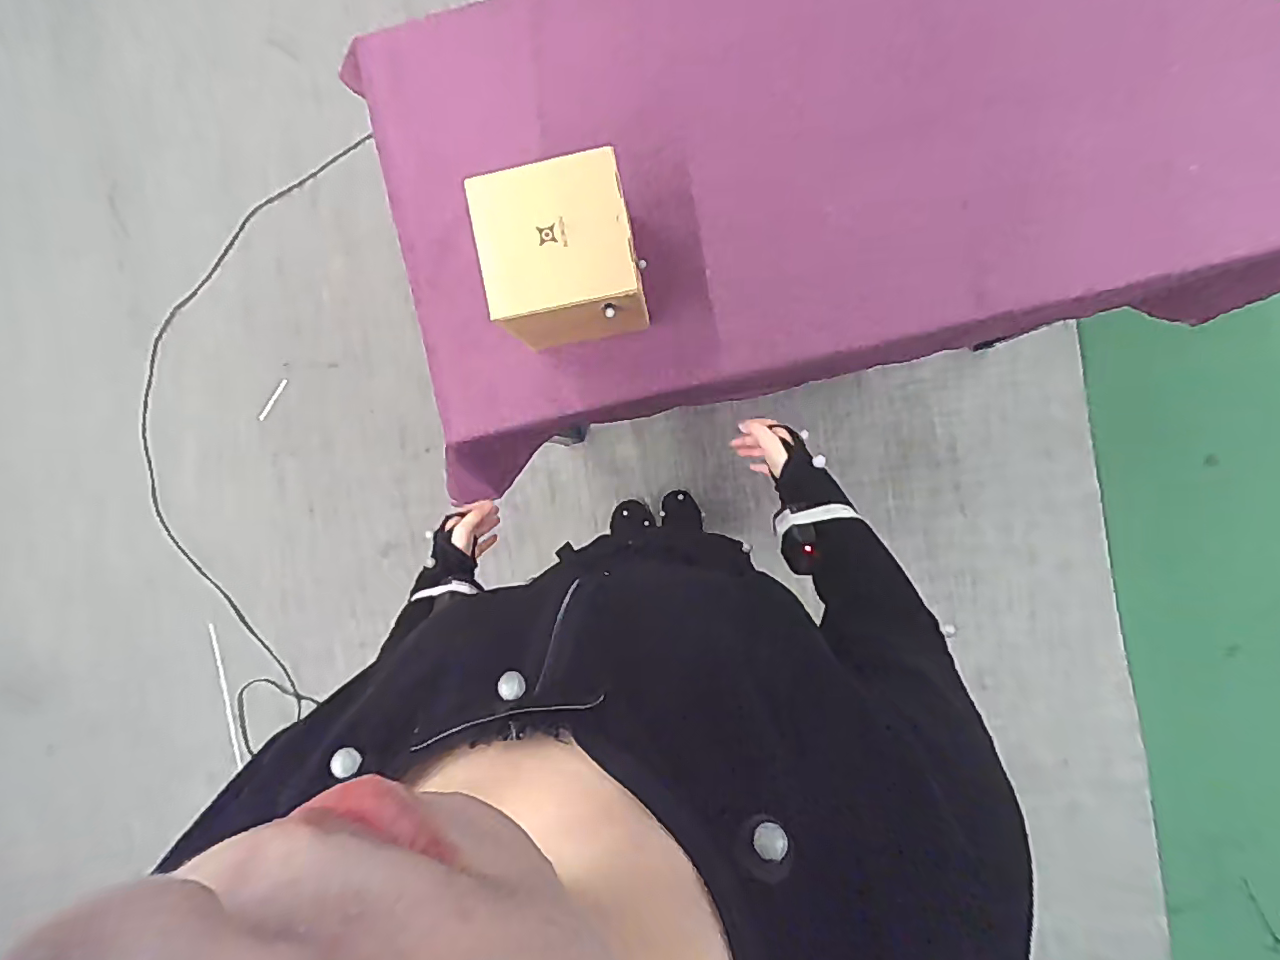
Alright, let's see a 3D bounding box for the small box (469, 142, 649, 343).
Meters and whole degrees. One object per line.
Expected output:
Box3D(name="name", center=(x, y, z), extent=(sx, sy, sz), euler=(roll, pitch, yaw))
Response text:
Box3D(name="small box", center=(-0.091, -0.285, 0.691), extent=(0.179, 0.176, 0.168), euler=(-10, 91, 4))
